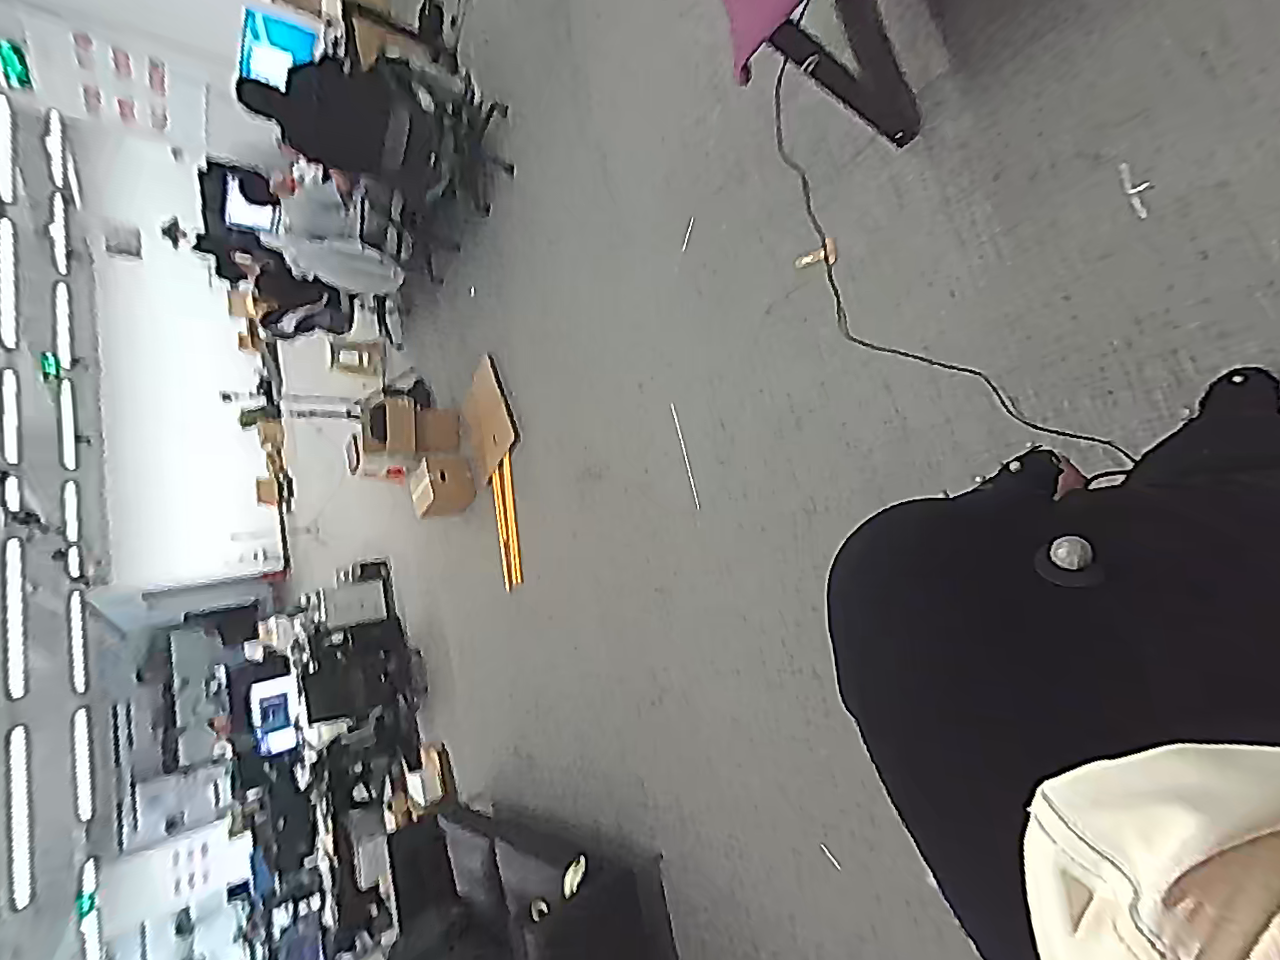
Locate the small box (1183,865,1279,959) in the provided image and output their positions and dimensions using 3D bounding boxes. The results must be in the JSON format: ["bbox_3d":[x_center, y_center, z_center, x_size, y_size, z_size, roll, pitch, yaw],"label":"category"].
[{"bbox_3d":[1.232,0.908,1.074,0.179,0.176,0.168,-24,75,48],"label":"small box"}]

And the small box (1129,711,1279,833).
[{"bbox_3d":[1.168,0.593,1.124,0.179,0.176,0.168,-25,75,48],"label":"small box"}]
